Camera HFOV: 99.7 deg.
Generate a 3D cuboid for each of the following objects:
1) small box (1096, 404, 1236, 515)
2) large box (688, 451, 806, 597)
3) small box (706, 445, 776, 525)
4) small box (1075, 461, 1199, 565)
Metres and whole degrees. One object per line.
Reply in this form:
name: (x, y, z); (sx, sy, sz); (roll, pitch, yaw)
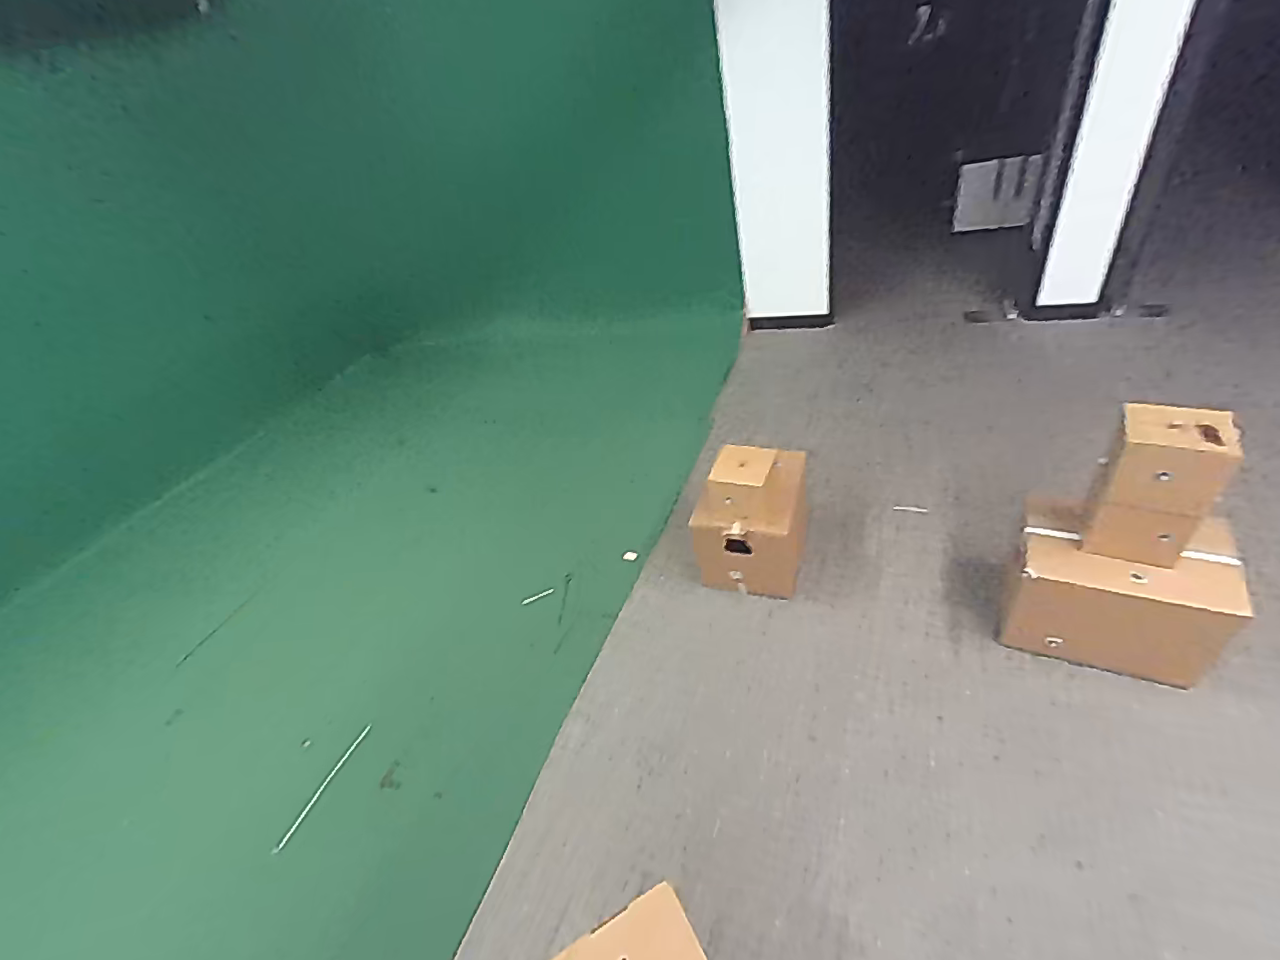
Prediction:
small box: (1.143, -0.045, 1.189); (0.179, 0.176, 0.168); (13, 44, 32)
large box: (0.387, 0.144, 1.875); (0.320, 0.320, 0.408); (5, 42, 24)
small box: (0.317, 0.017, 1.658); (0.168, 0.176, 0.179); (8, 43, 26)
small box: (1.175, 0.079, 1.292); (0.179, 0.176, 0.168); (12, 44, 31)
